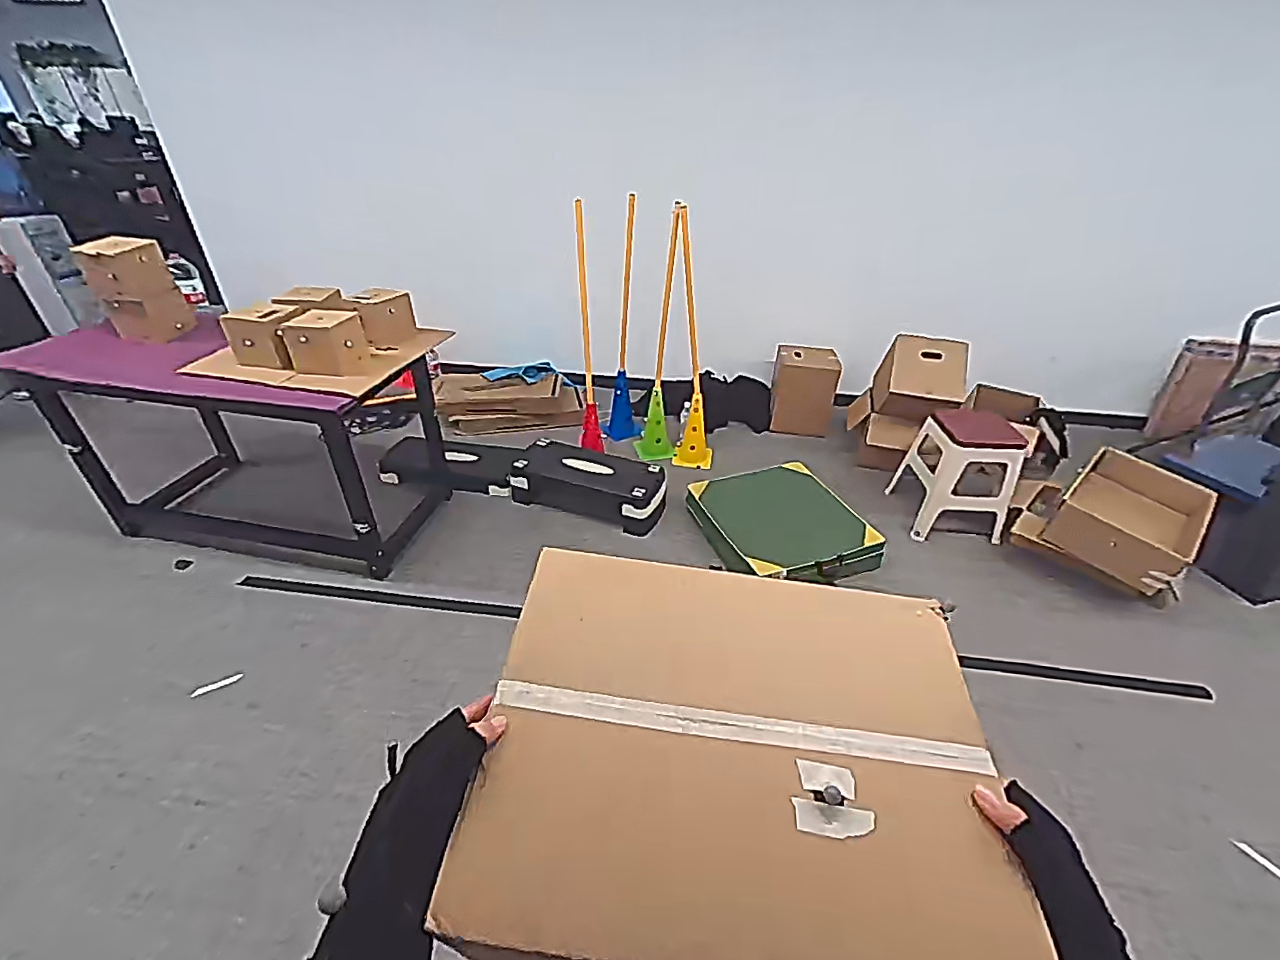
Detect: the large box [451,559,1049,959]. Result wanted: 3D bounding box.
[{"bbox_3d":[0.075,0.316,0.554,0.408,0.320,0.320,8,45,2],"label":"large box"}]
